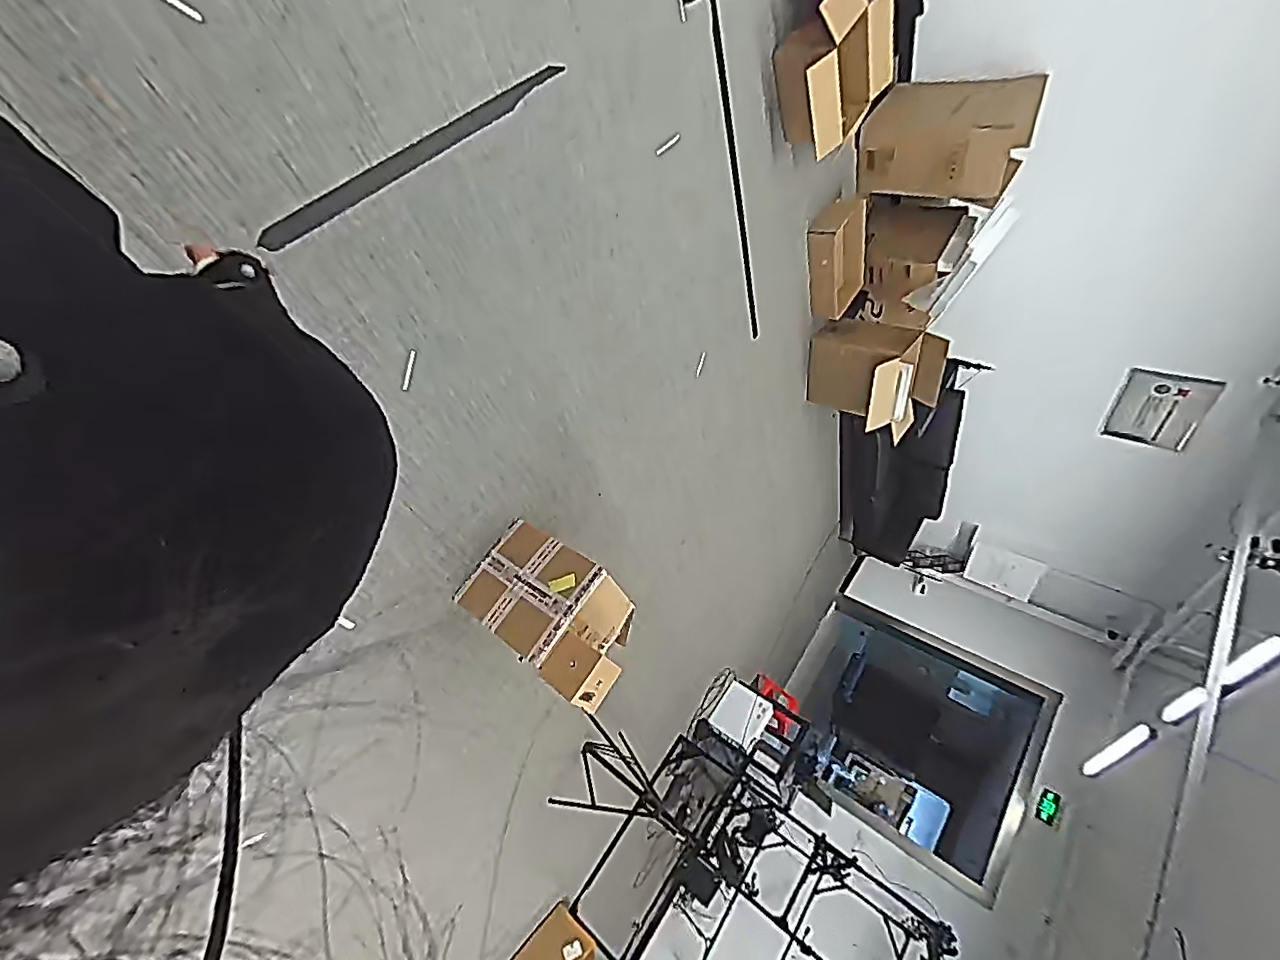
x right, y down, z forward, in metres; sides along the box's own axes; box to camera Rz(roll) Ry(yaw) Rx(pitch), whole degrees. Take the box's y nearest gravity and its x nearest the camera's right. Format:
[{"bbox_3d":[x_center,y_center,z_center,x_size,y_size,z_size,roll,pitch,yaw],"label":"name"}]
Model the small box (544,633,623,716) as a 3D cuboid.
[{"bbox_3d":[-0.195,0.646,1.805,0.179,0.176,0.168,-54,141,-17],"label":"small box"}]
